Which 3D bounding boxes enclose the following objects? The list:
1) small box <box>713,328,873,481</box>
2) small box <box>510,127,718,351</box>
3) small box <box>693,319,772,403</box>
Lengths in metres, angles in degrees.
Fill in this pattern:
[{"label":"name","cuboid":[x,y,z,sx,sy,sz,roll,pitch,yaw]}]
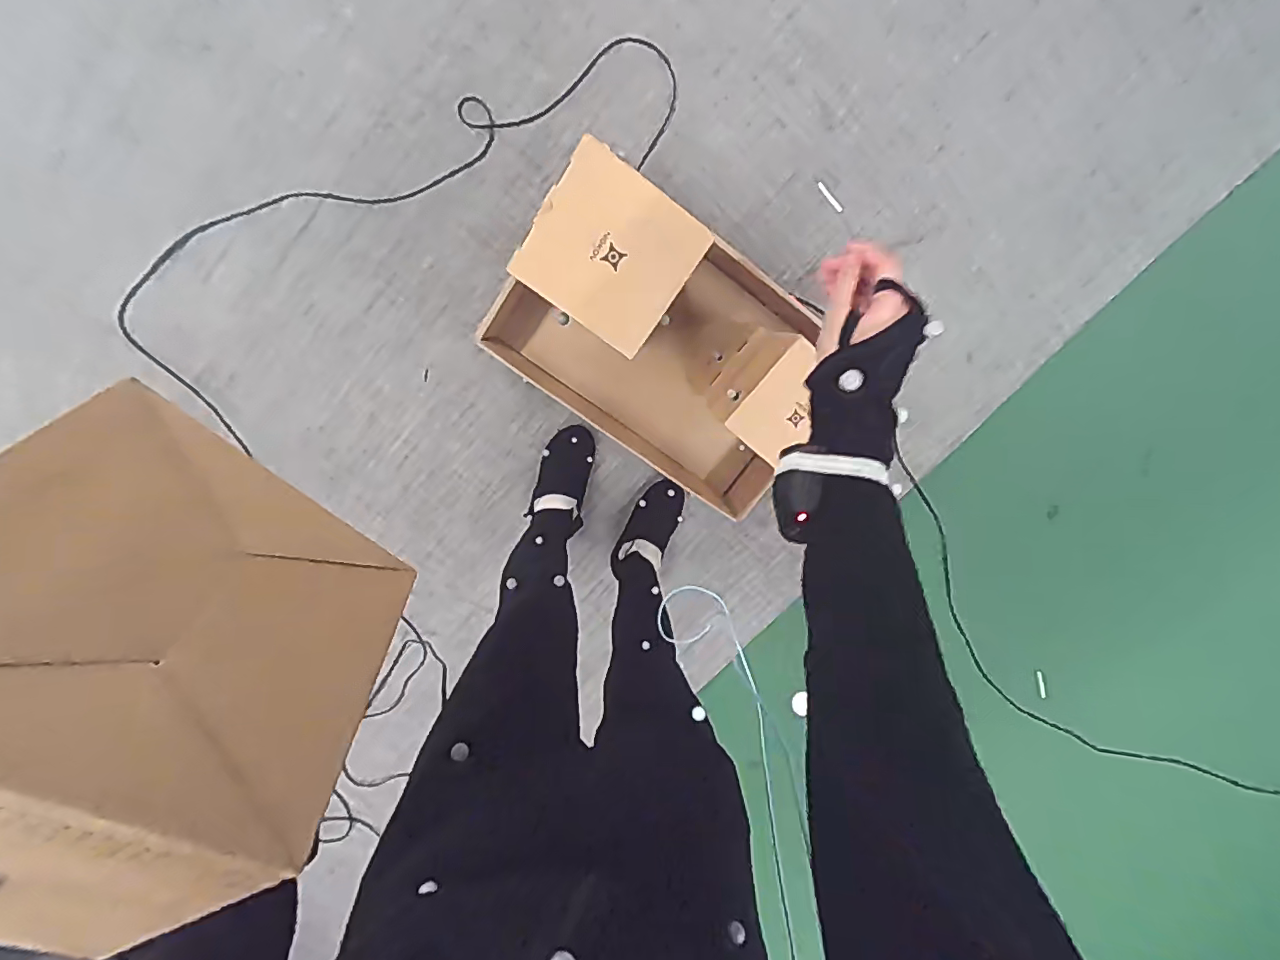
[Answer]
[{"label":"small box","cuboid":[0.238,-0.132,0.899,0.168,0.176,0.179,39,101,-14]},{"label":"small box","cuboid":[-0.029,-0.286,0.672,0.179,0.176,0.168,34,105,-11]},{"label":"small box","cuboid":[0.222,-0.191,1.053,0.179,0.176,0.168,39,102,-12]}]
